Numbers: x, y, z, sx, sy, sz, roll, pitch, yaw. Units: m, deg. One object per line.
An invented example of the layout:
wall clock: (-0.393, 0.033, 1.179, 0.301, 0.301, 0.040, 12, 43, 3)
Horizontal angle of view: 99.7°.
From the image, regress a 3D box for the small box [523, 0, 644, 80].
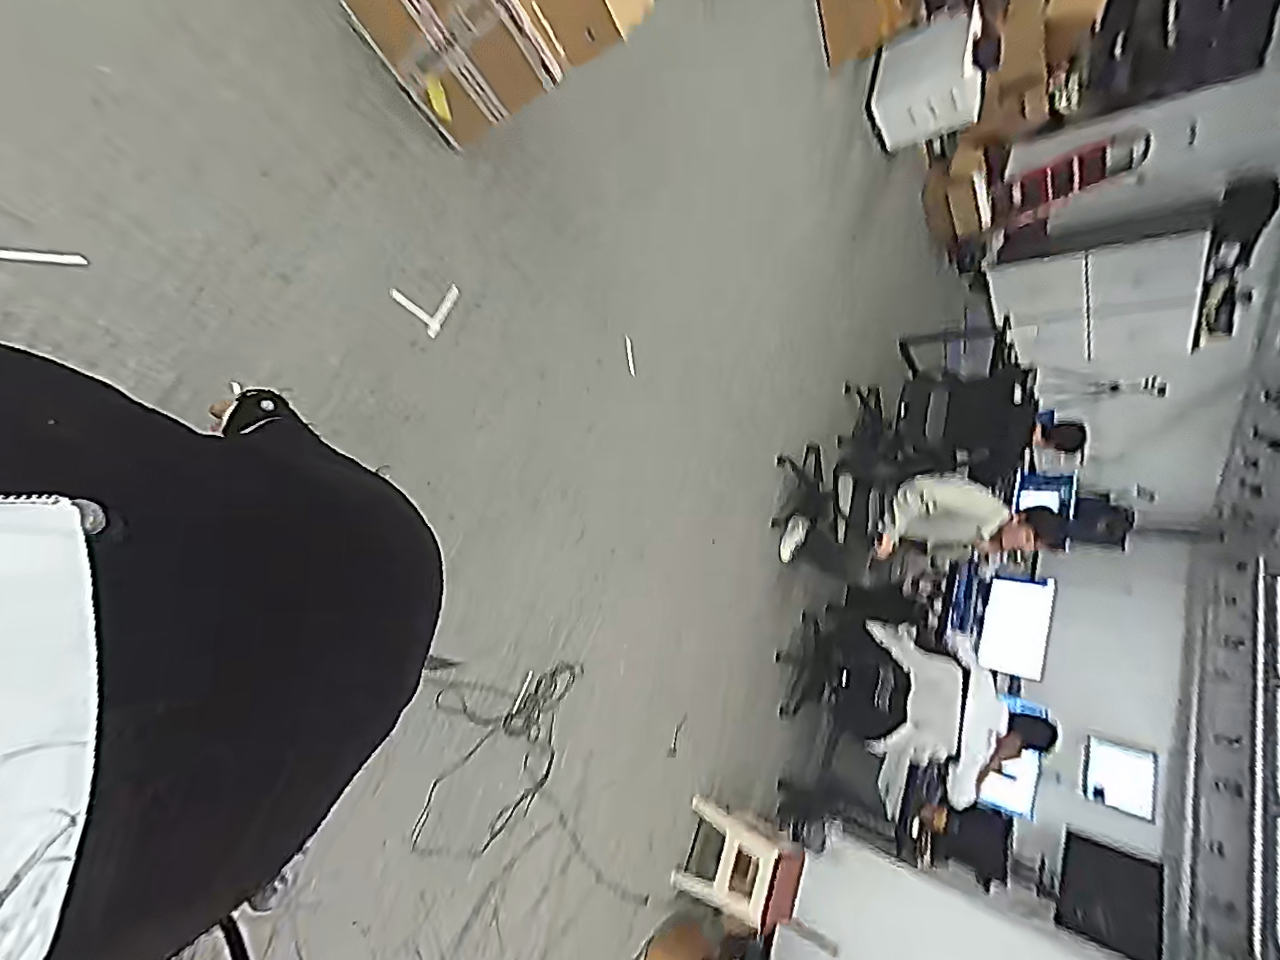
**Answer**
small box: (-0.128, -1.056, 1.231, 0.179, 0.176, 0.168, 46, 62, -42)
